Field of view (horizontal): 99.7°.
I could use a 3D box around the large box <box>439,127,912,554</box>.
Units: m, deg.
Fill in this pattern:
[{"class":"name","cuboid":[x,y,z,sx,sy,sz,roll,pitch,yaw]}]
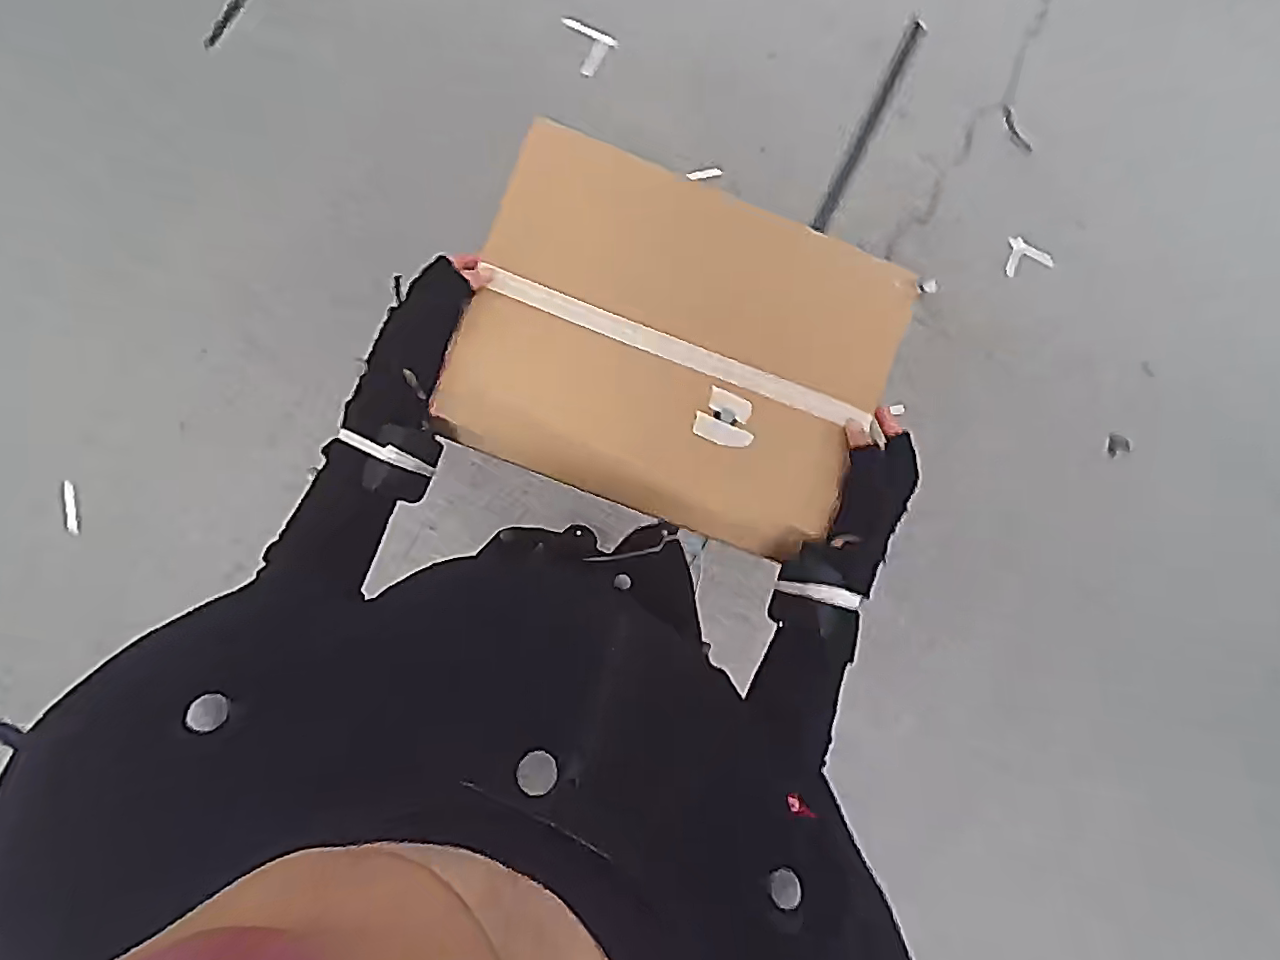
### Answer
[{"class":"large box","cuboid":[0.029,-0.136,0.680,0.408,0.320,0.320,21,91,-5]}]
